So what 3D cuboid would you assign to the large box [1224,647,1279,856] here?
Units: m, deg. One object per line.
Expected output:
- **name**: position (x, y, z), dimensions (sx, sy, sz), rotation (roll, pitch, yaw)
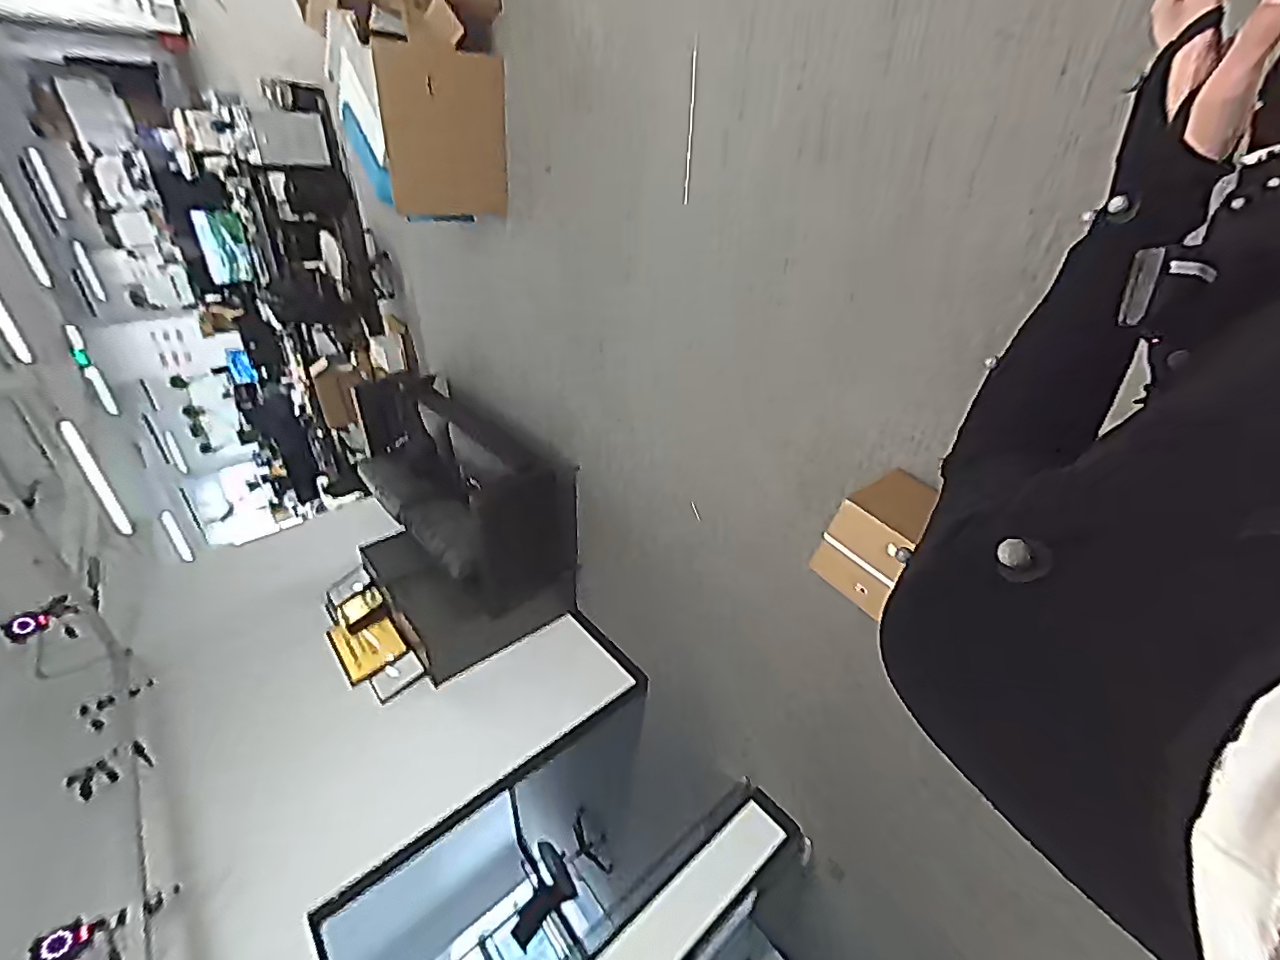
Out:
- **large box**: position (1.447, 0.545, 1.026), dimensions (0.408, 0.320, 0.320), rotation (-12, 100, 54)
